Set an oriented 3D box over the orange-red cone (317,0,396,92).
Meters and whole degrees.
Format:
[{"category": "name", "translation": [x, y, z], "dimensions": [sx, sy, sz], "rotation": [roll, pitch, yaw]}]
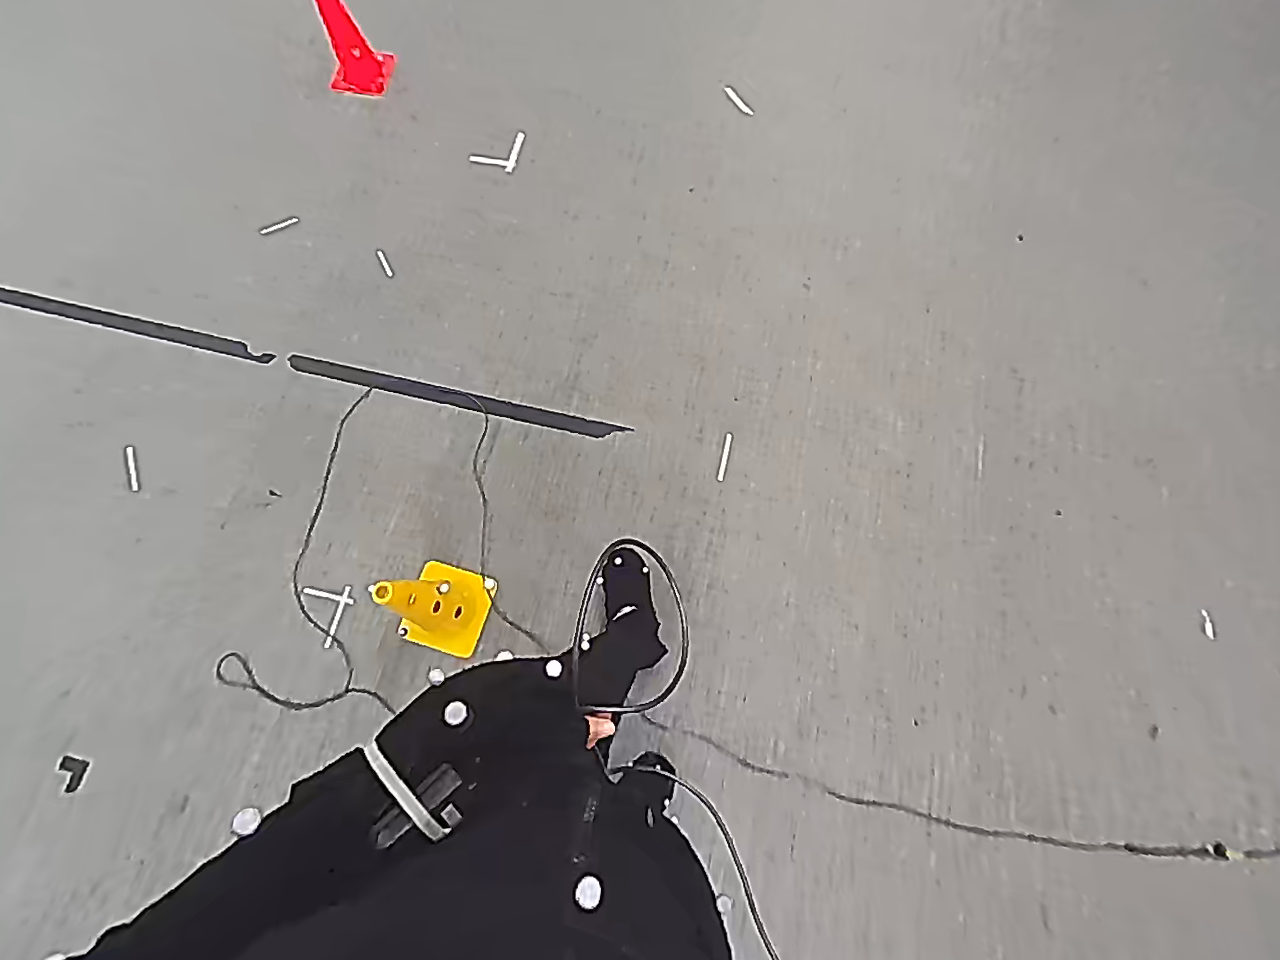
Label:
[{"category": "orange-red cone", "translation": [-0.999, -1.518, 1.771], "dimensions": [0.199, 0.360, 0.198], "rotation": [8, 72, 5]}]
